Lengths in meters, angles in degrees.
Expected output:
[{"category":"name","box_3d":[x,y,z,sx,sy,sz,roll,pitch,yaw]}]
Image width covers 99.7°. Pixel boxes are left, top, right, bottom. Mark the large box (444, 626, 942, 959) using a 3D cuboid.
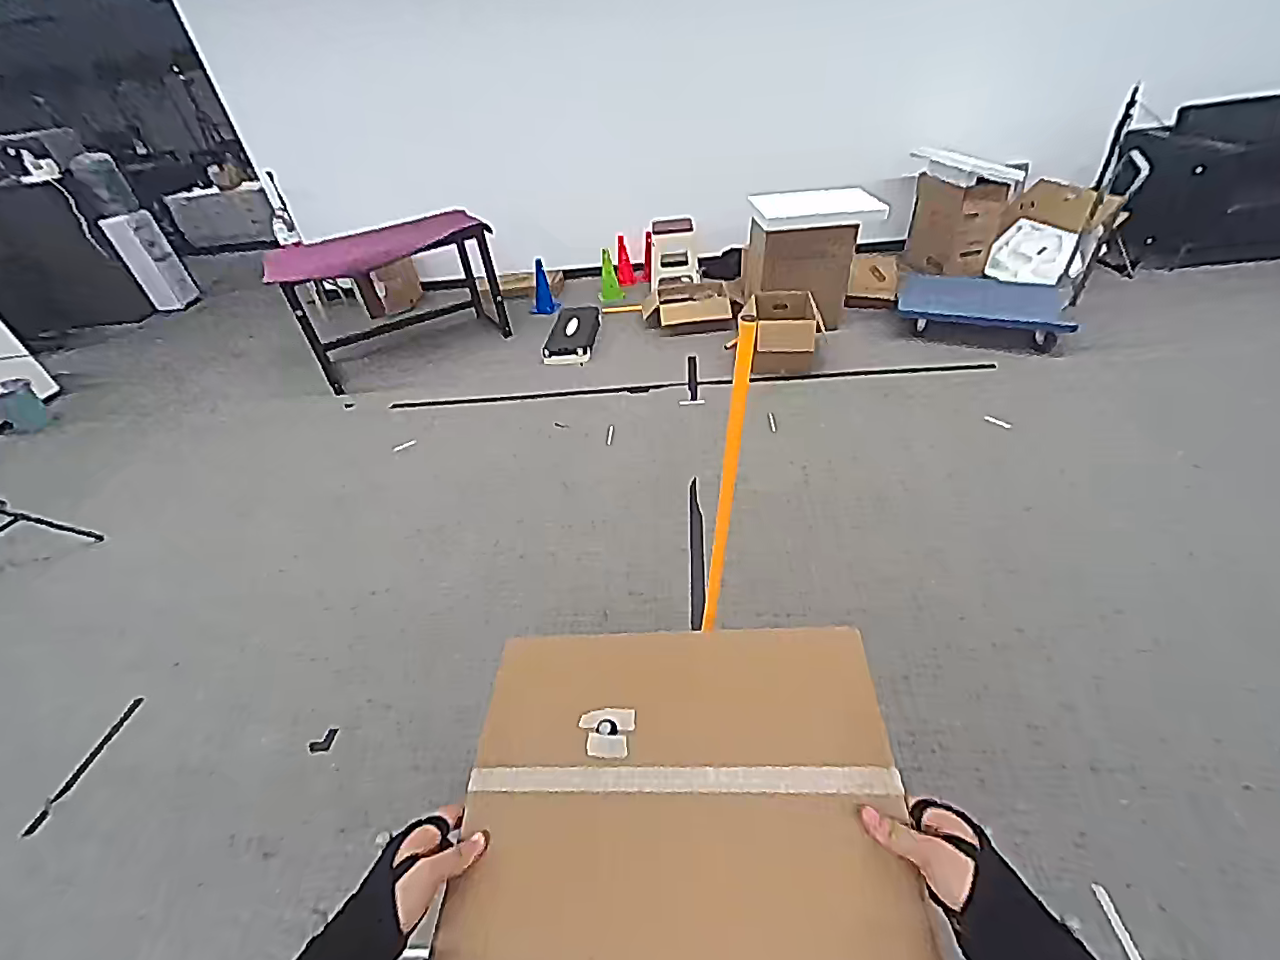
[{"category":"large box","box_3d":[0.064,0.394,0.619,0.408,0.320,0.320,-6,43,10]}]
